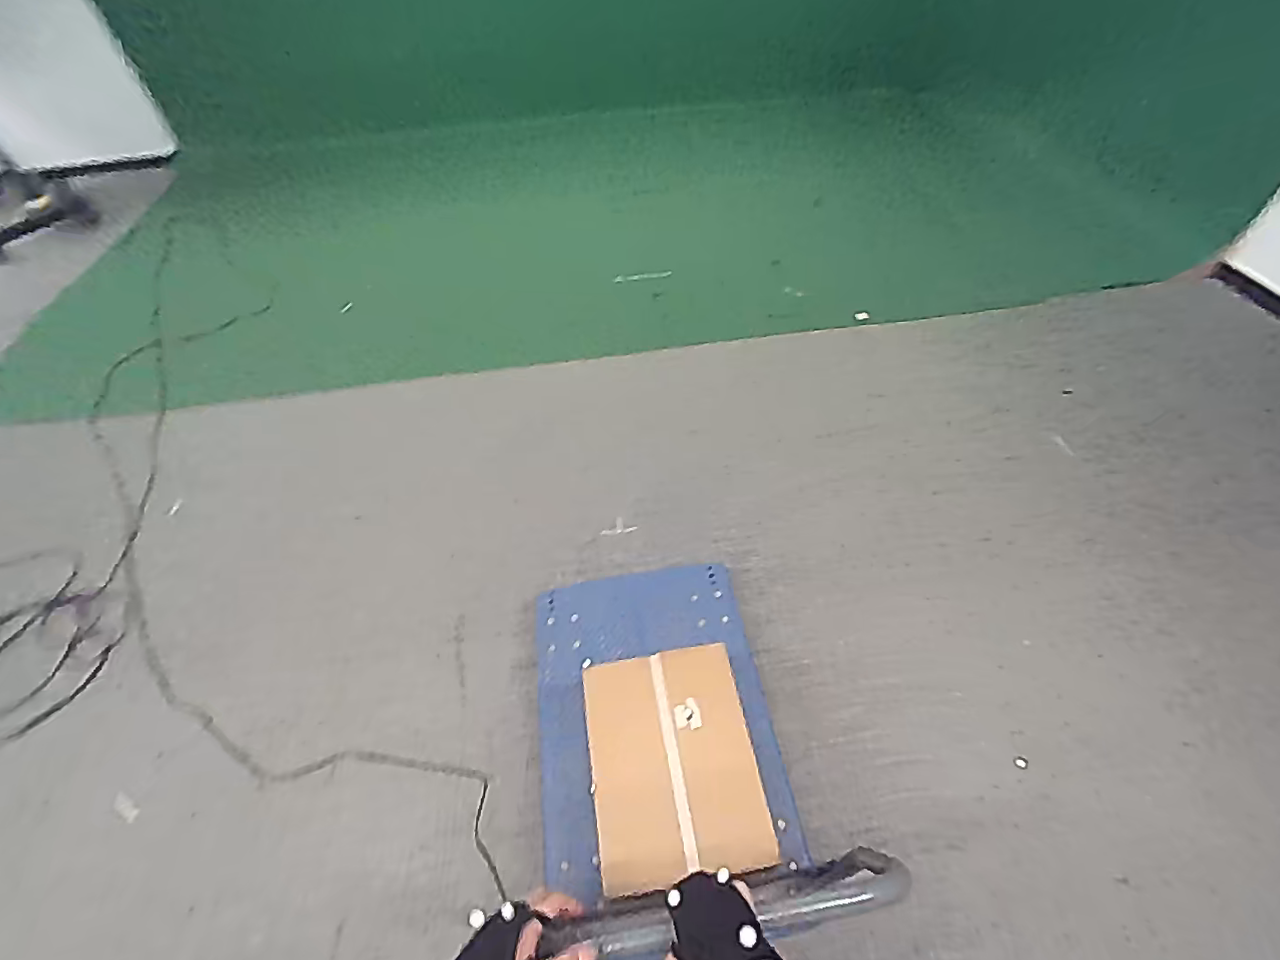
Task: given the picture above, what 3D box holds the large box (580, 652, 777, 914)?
[{"bbox_3d":[0.065,0.645,1.162,0.320,0.320,0.408,-9,50,-4],"label":"large box"}]
